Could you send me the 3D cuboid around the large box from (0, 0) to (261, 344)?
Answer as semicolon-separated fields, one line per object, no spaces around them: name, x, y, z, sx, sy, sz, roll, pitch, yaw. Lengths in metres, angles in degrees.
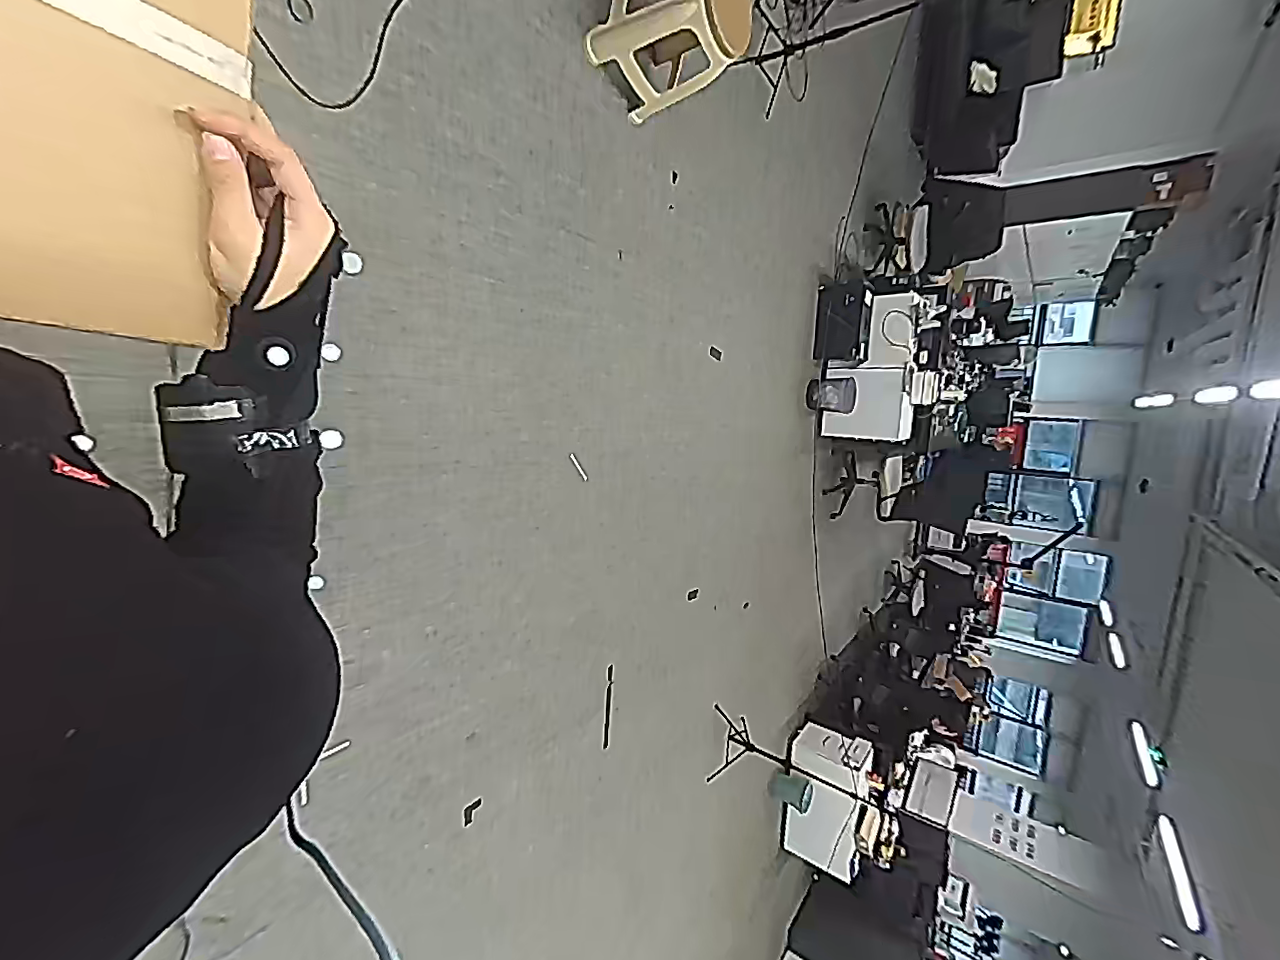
large box;-0.468;-0.267;0.249;0.408;0.320;0.320;-2;108;-54
